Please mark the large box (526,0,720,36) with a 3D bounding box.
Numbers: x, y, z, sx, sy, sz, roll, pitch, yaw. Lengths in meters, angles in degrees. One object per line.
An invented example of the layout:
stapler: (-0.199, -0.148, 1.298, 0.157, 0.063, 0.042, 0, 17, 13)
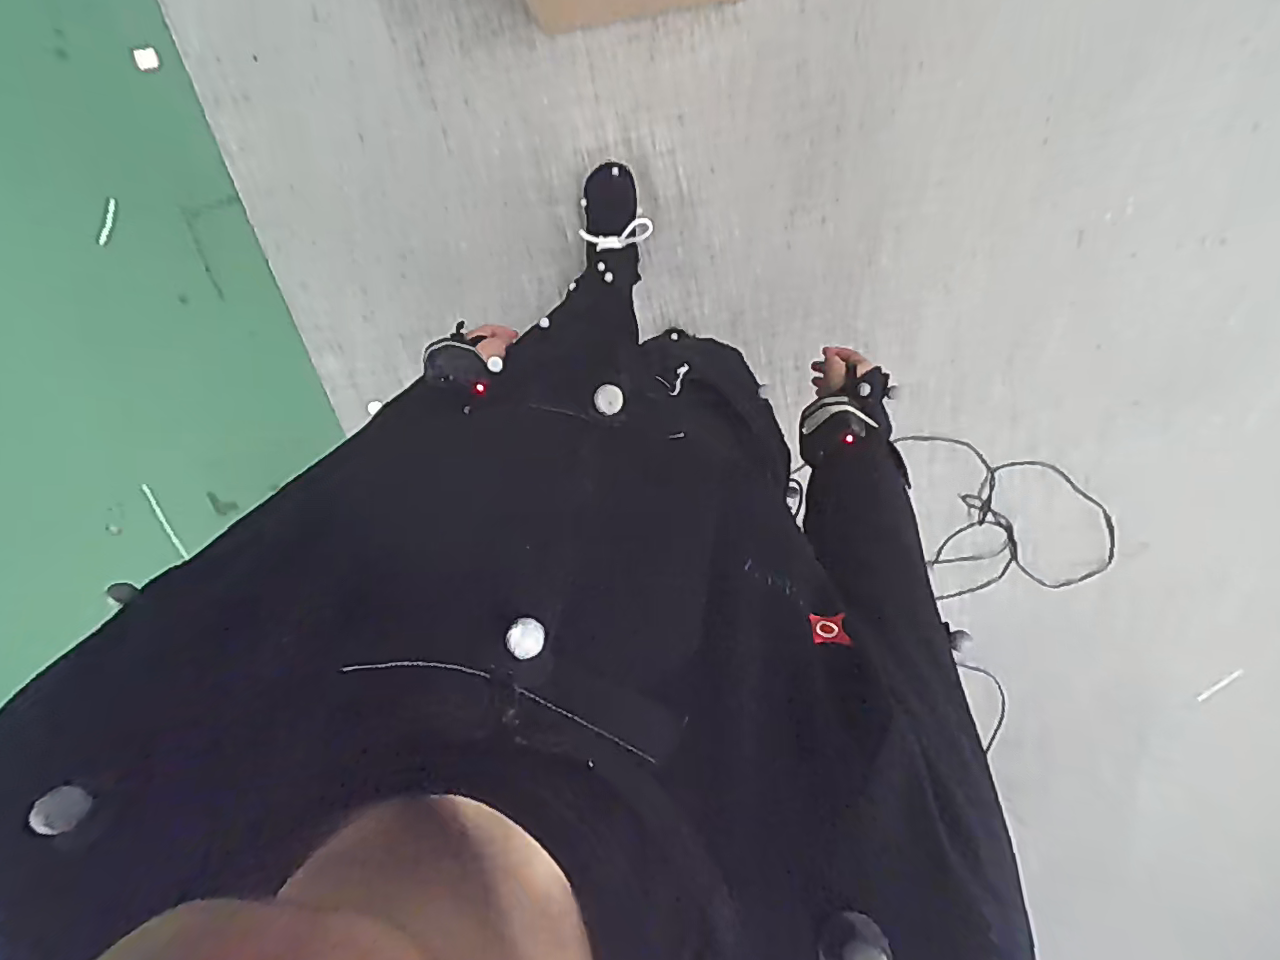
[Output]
large box: (-0.020, -0.964, 0.837, 0.408, 0.320, 0.320, -6, 113, 5)
